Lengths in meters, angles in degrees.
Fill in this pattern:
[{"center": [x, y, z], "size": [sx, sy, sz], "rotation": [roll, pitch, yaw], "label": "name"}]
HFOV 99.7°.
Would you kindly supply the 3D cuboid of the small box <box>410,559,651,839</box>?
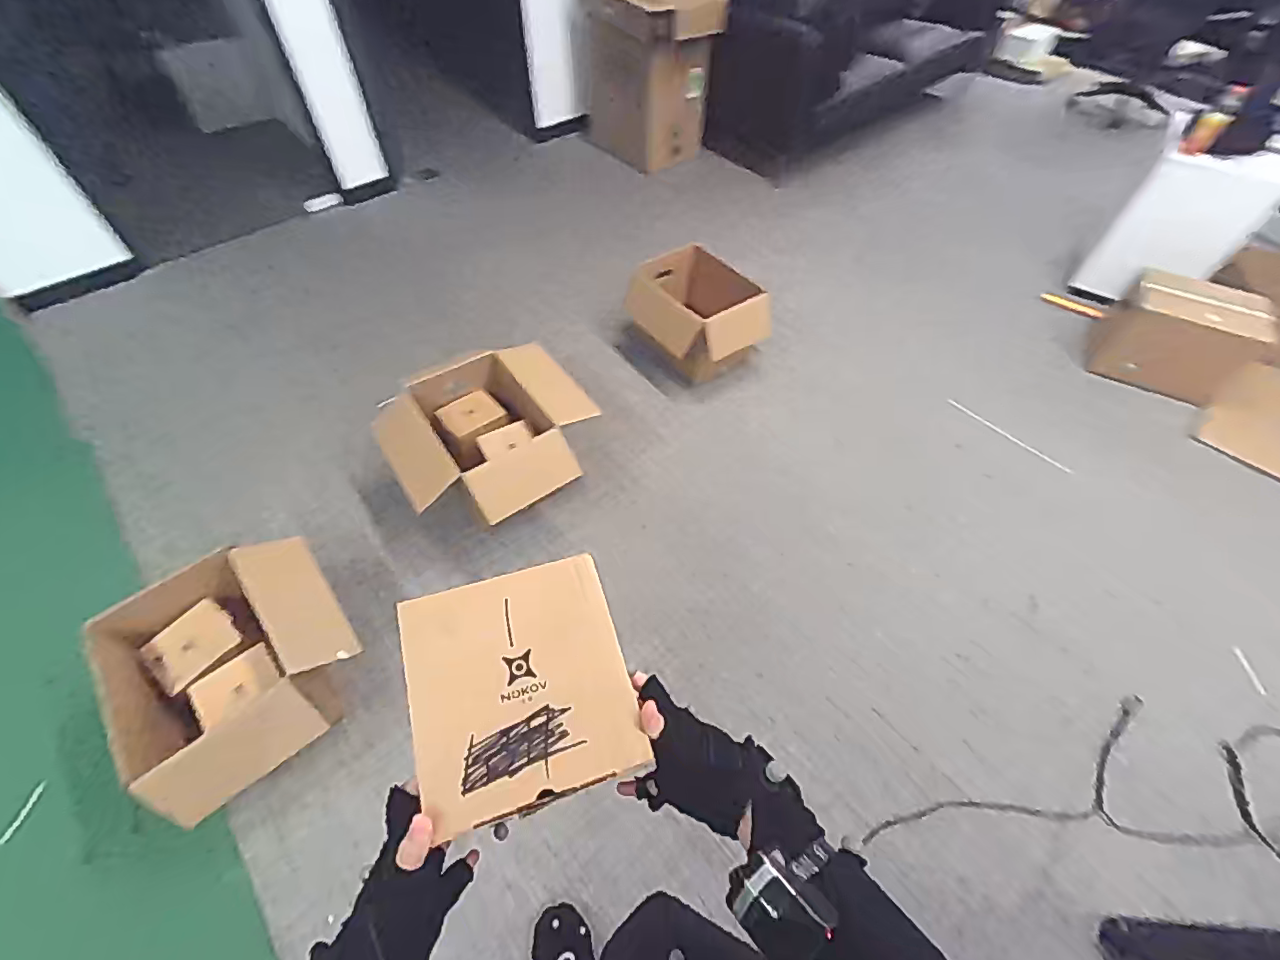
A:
[{"center": [-0.097, 0.199, 0.497], "size": [0.168, 0.176, 0.179], "rotation": [-12, 61, -14], "label": "small box"}]
